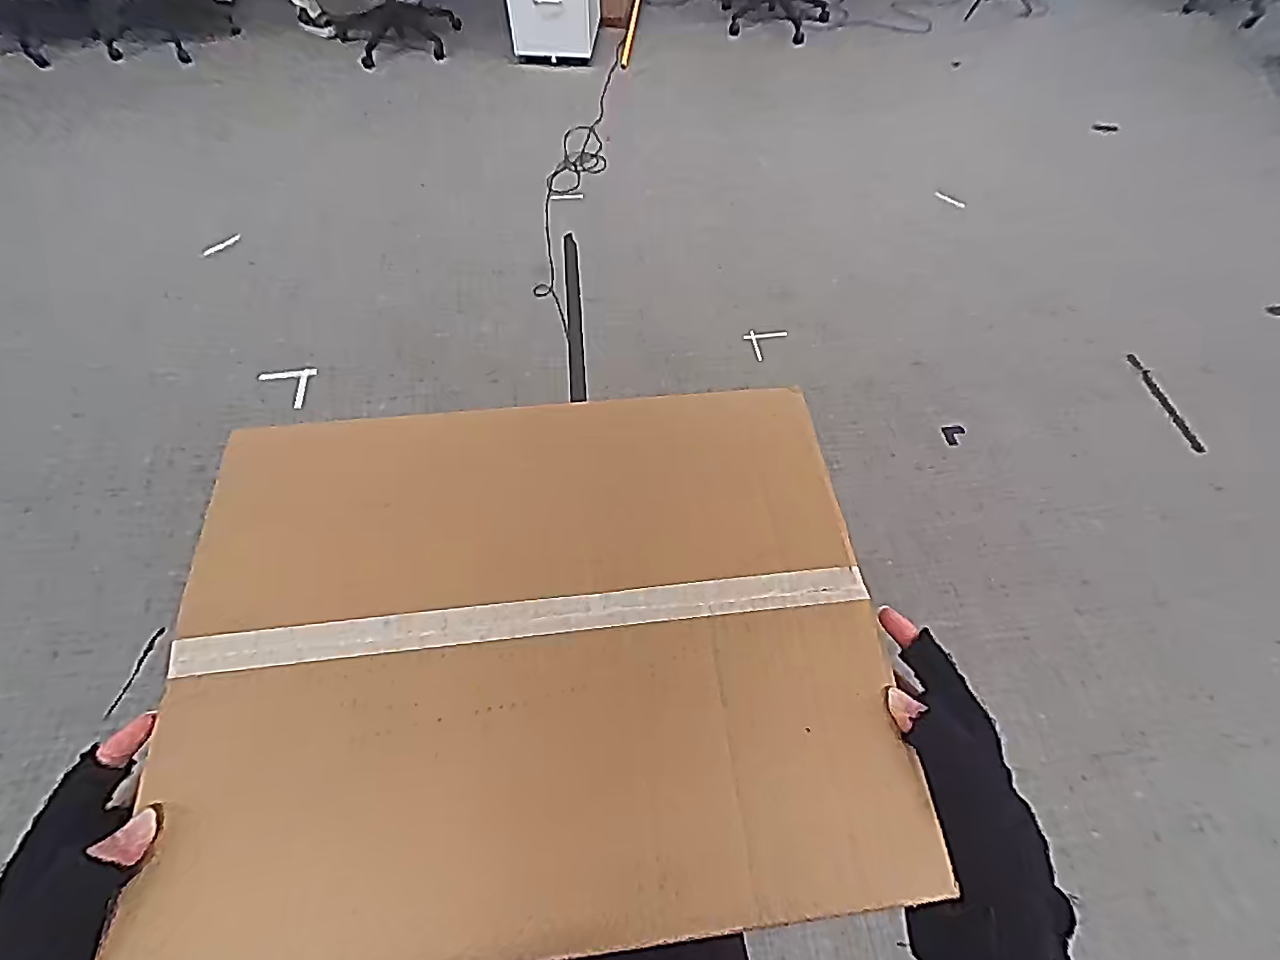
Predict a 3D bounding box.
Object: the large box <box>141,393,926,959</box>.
[{"bbox_3d":[-0.065,0.154,0.470,0.408,0.320,0.320,-5,63,-5],"label":"large box"}]
